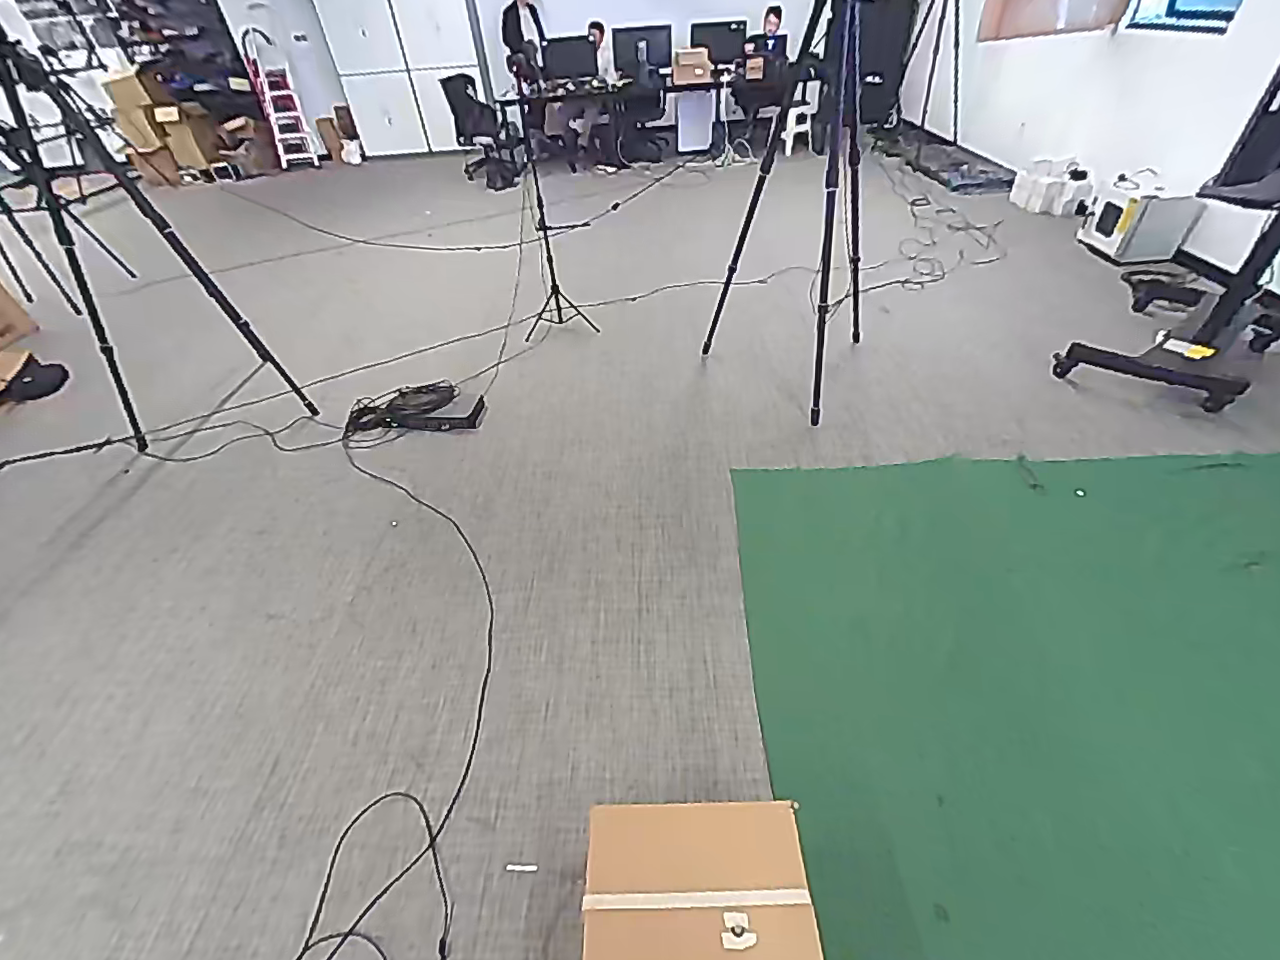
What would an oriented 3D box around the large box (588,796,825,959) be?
[{"bbox_3d":[0.115,0.856,1.068,0.408,0.320,0.320,-3,42,2],"label":"large box"}]
